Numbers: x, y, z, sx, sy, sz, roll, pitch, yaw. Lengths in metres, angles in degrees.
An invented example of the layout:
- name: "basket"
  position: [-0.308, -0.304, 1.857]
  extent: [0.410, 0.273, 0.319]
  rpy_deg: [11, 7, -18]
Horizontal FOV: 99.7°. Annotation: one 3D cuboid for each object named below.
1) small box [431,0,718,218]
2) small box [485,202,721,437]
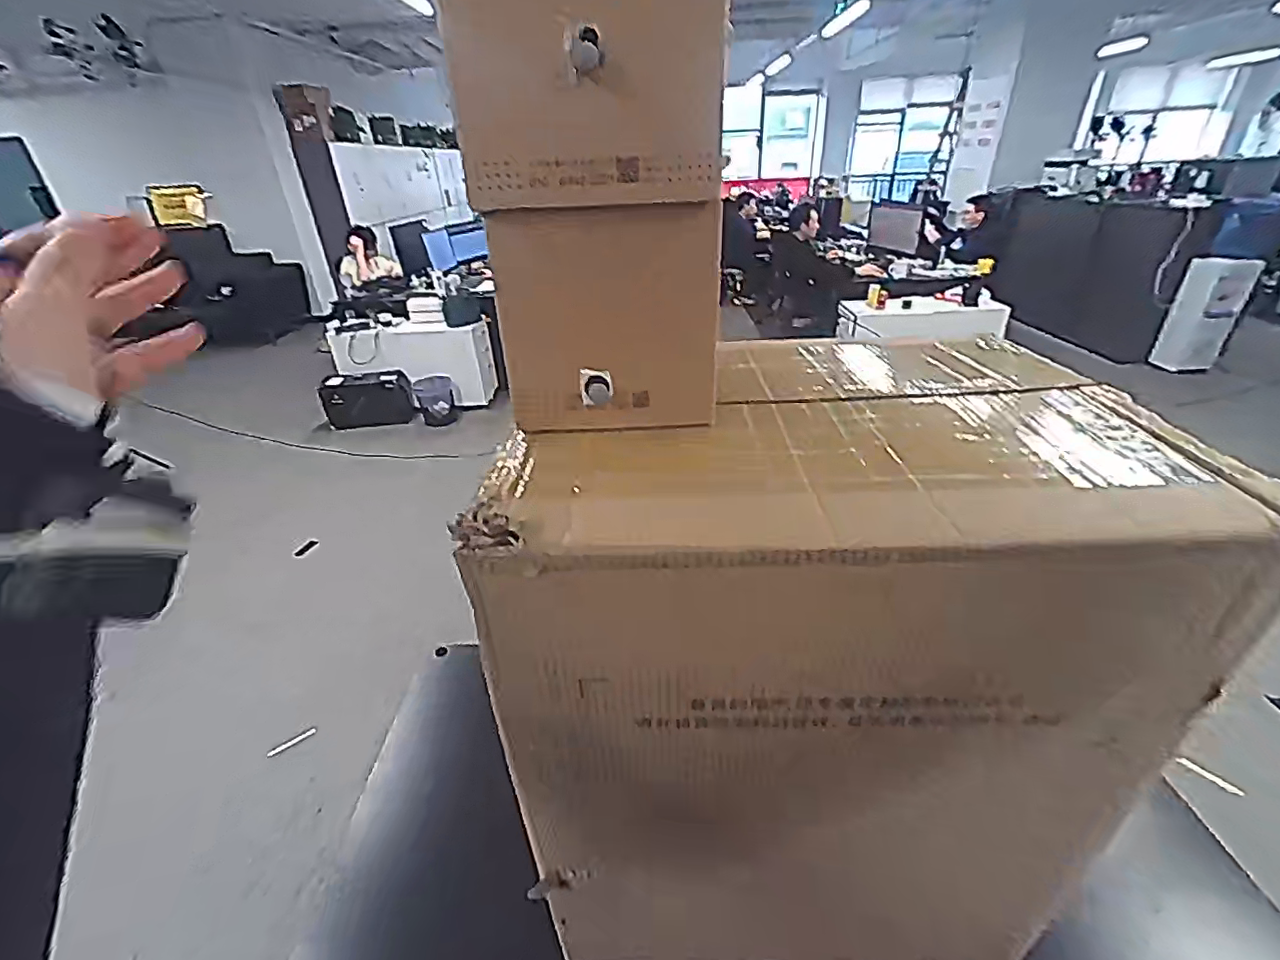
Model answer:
- name: "small box"
  position: [-0.036, -0.285, 0.386]
  extent: [0.168, 0.176, 0.179]
  rpy_deg: [-3, 30, -1]
- name: "small box"
  position: [-0.027, -0.150, 0.481]
  extent: [0.168, 0.176, 0.179]
  rpy_deg: [-4, 30, -2]
